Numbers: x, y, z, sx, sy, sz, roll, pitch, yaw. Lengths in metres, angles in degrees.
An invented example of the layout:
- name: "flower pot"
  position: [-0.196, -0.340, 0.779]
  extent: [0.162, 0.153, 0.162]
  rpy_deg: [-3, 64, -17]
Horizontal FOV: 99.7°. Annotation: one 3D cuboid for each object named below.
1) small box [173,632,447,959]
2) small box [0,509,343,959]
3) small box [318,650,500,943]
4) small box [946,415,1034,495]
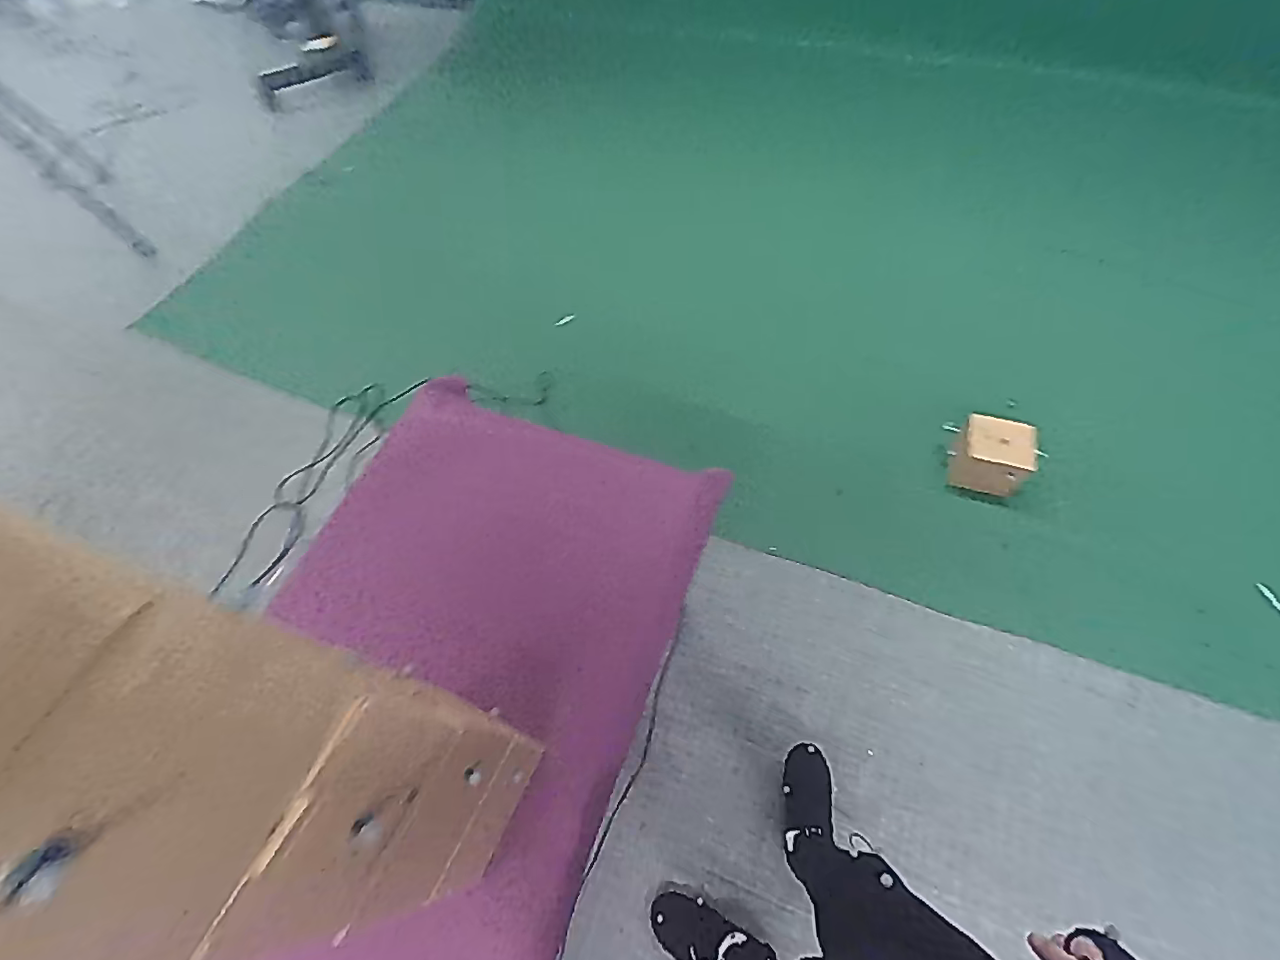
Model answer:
- name: "small box"
  position: [-0.280, 0.219, 0.406]
  extent: [0.179, 0.176, 0.168]
  rpy_deg: [20, 63, 16]
- name: "small box"
  position: [-0.294, 0.134, 0.266]
  extent: [0.168, 0.176, 0.179]
  rpy_deg: [18, 62, 15]
- name: "small box"
  position: [-0.262, 0.303, 0.544]
  extent: [0.168, 0.176, 0.179]
  rpy_deg: [20, 64, 16]
- name: "small box"
  position: [1.082, -0.073, 1.677]
  extent: [0.179, 0.176, 0.168]
  rpy_deg: [14, 62, 12]
